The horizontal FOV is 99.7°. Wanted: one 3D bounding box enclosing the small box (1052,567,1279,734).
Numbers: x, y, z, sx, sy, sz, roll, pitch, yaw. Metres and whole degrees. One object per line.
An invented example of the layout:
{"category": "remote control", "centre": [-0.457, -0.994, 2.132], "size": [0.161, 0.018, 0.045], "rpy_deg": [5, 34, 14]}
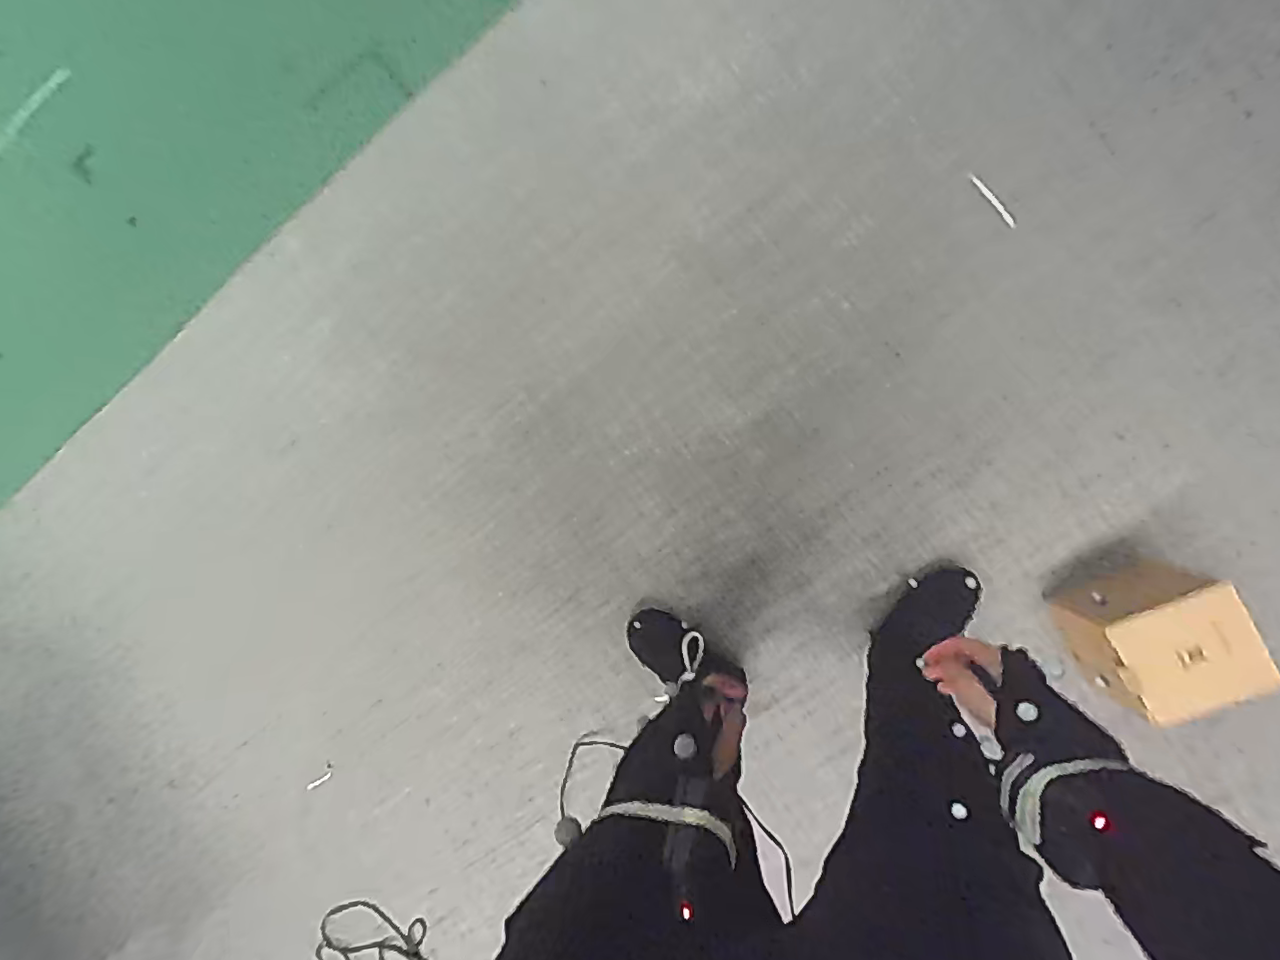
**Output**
{"category": "small box", "centre": [0.798, 0.256, 0.849], "size": [0.179, 0.176, 0.168], "rpy_deg": [-27, 89, 9]}
